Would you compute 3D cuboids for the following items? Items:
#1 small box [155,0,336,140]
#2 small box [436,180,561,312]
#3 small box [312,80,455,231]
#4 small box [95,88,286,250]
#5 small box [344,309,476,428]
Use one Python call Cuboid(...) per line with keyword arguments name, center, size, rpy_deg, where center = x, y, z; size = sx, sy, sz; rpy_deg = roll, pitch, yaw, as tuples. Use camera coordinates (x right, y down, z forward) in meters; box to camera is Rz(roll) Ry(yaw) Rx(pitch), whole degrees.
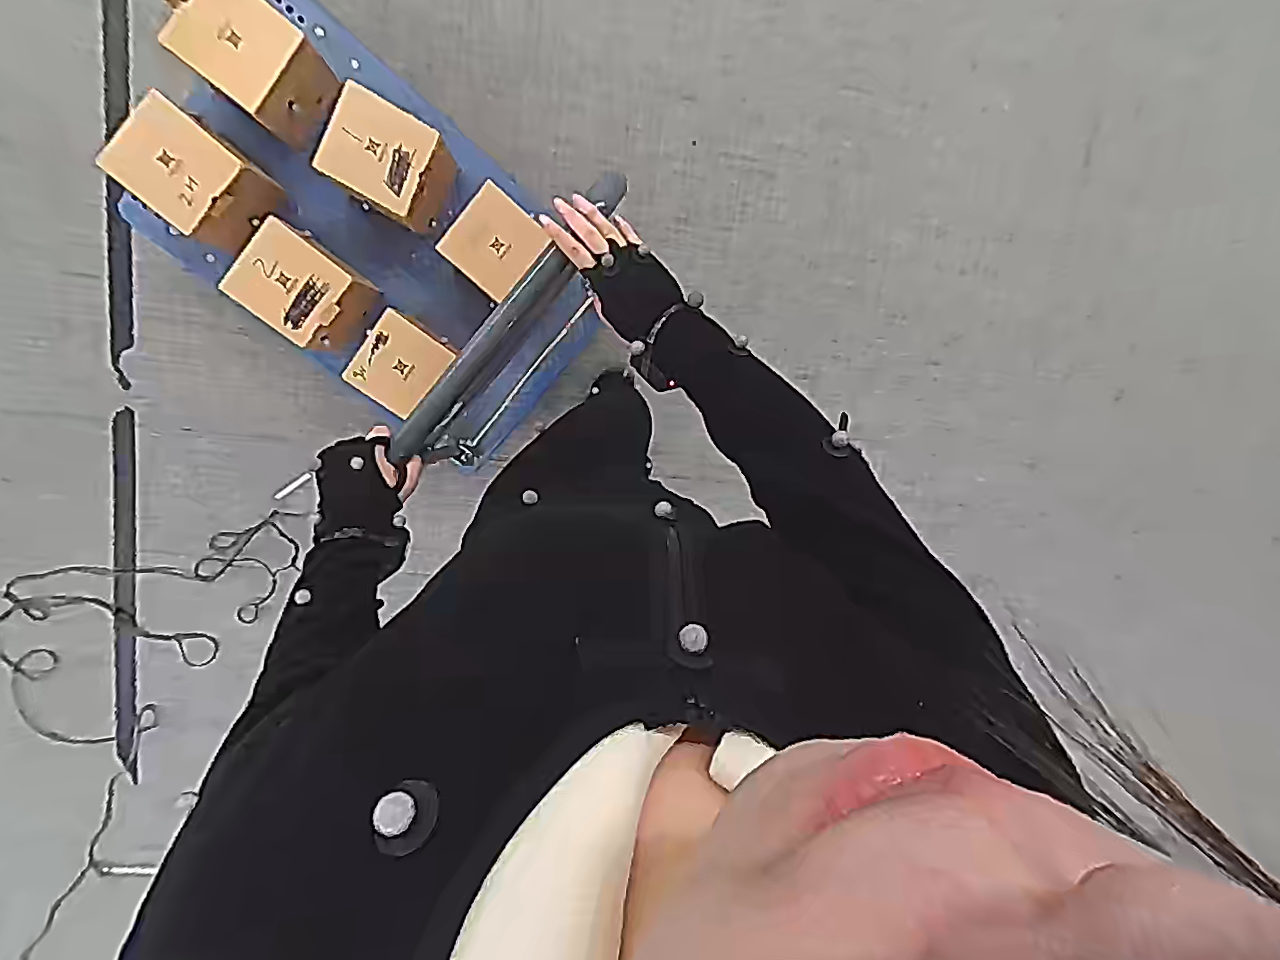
Cuboid(name="small box", center=(-0.700, -0.761, 0.985), size=(0.179, 0.176, 0.168), rpy_deg=(36, 95, -13))
Cuboid(name="small box", center=(-0.278, -0.463, 1.105), size=(0.179, 0.176, 0.168), rpy_deg=(40, 93, -13))
Cuboid(name="small box", center=(-0.482, -0.608, 1.046), size=(0.179, 0.176, 0.168), rpy_deg=(27, 97, -11))
Cuboid(name="small box", center=(-0.819, -0.560, 1.007), size=(0.179, 0.176, 0.168), rpy_deg=(40, 94, -14))
Cuboid(name="small box", center=(-0.463, -0.230, 1.123), size=(0.179, 0.176, 0.168), rpy_deg=(35, 93, -13))
